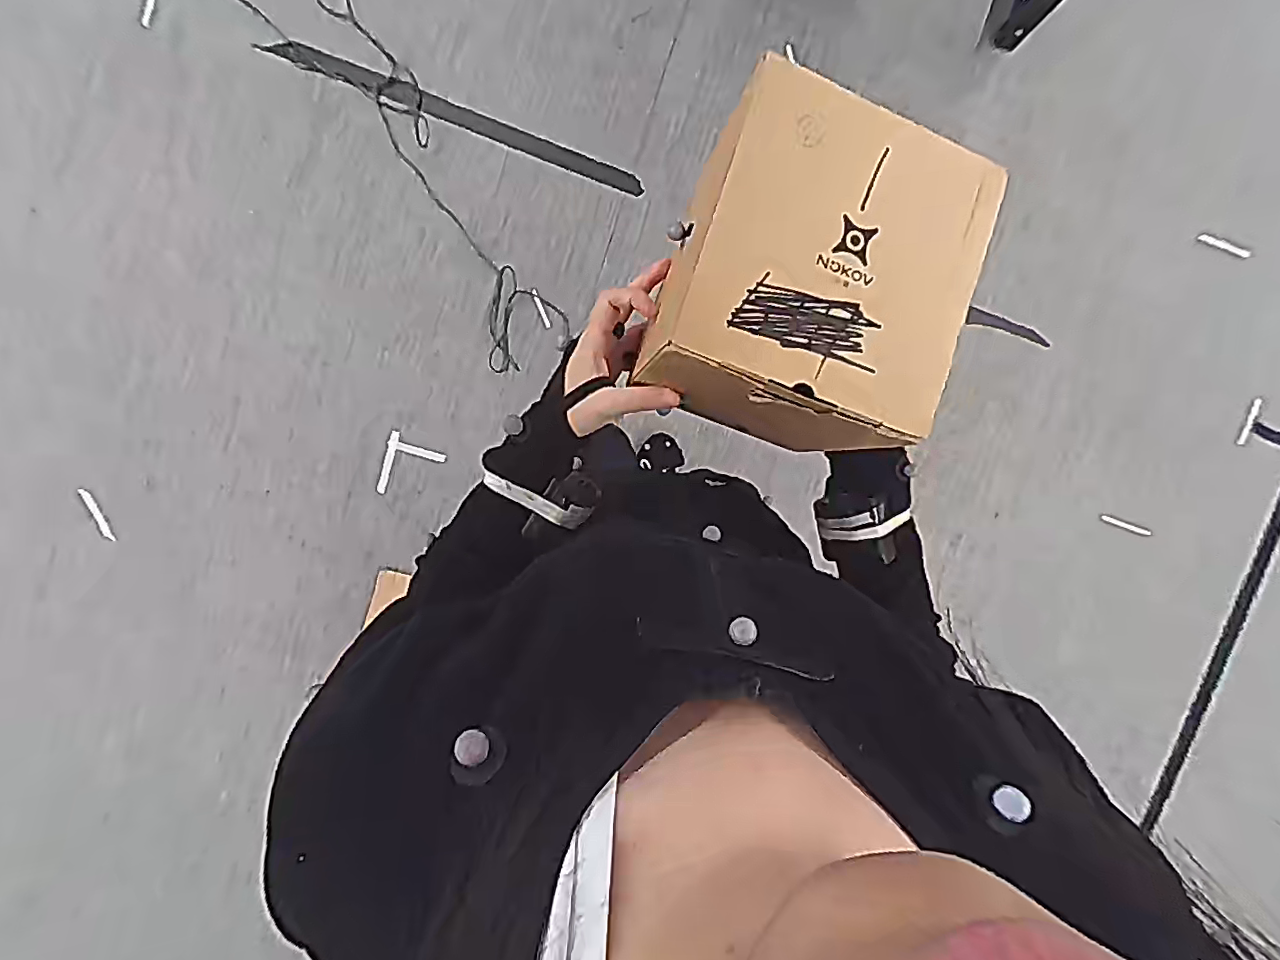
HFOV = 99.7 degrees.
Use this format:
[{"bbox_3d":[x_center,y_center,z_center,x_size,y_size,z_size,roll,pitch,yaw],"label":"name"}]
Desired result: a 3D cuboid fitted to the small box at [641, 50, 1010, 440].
[{"bbox_3d":[0.106,-0.134,0.387,0.168,0.176,0.179,18,89,-9],"label":"small box"}]
